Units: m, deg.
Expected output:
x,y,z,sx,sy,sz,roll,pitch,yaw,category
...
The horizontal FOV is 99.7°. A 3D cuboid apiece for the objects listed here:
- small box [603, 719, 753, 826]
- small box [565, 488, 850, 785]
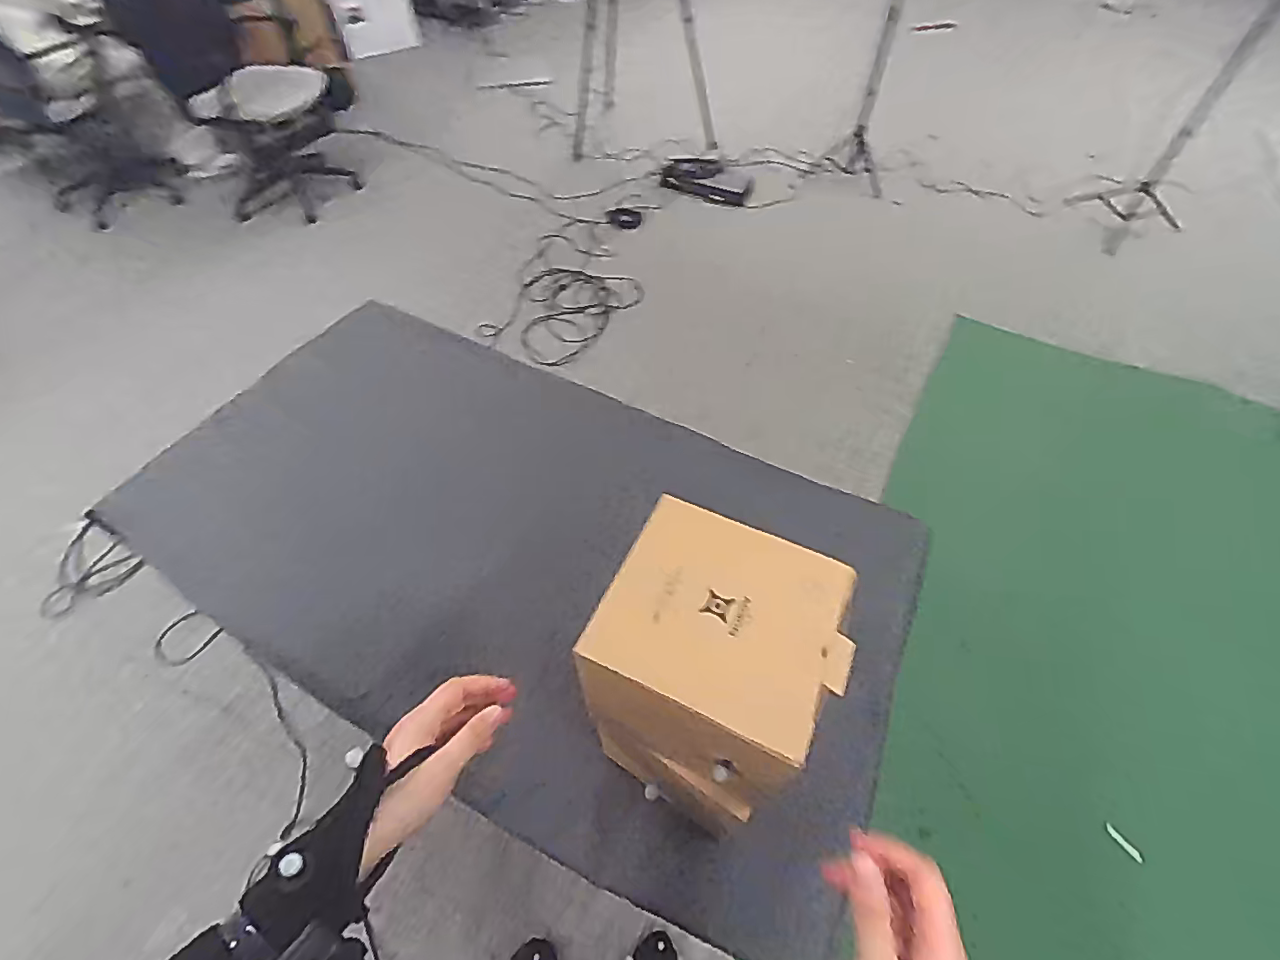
x,y,z,sx,sy,sz,roll,pitch,yaw,category
0.066,0.246,0.602,0.168,0.176,0.179,28,57,20,small box
0.057,0.142,0.477,0.179,0.176,0.168,21,53,17,small box
